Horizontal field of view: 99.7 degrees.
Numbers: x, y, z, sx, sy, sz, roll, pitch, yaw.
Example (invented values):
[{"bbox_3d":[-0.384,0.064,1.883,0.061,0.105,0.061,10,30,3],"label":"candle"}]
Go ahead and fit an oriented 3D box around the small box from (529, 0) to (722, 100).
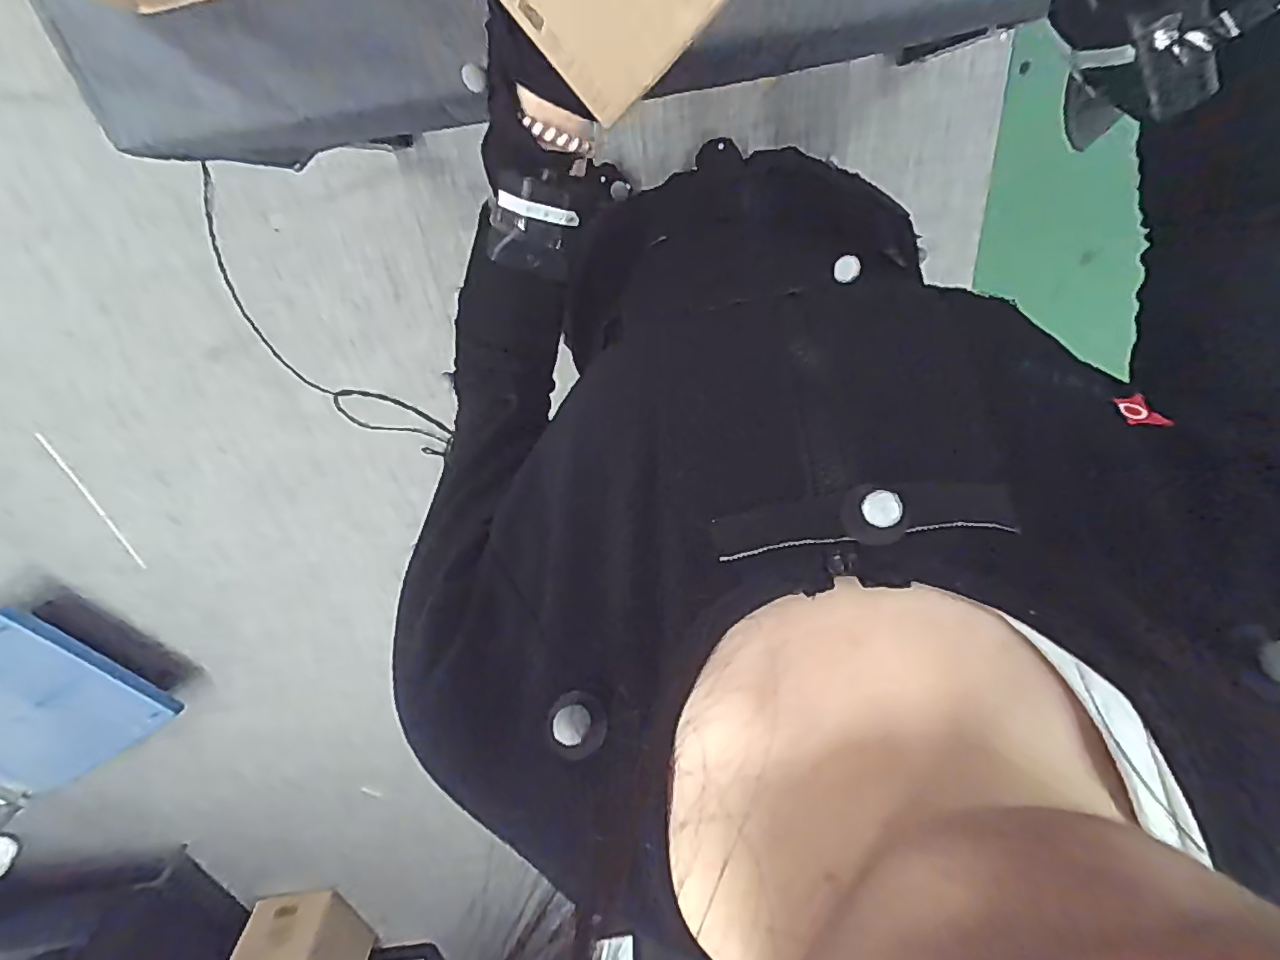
[{"bbox_3d":[0.010,-0.291,0.195,0.168,0.176,0.179,40,89,-25],"label":"small box"}]
